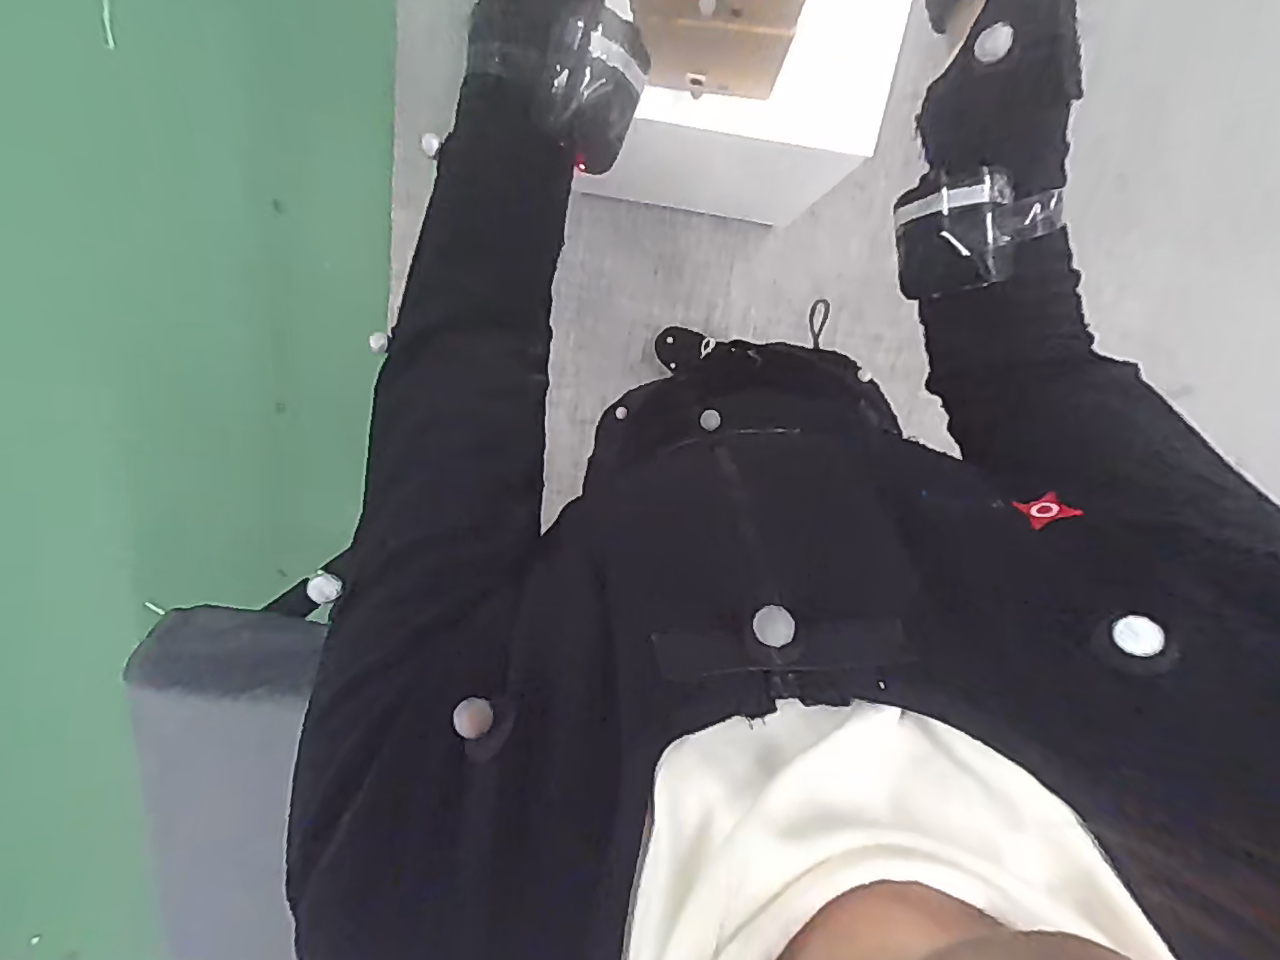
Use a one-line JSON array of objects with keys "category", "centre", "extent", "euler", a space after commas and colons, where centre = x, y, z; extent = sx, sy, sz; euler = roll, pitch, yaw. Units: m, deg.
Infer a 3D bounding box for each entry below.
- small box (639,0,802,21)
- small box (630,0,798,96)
[{"category": "small box", "centre": [0.072, -0.512, 0.423], "extent": [0.168, 0.176, 0.179], "euler": [5, 105, 3]}, {"category": "small box", "centre": [0.086, -0.552, 0.581], "extent": [0.168, 0.176, 0.179], "euler": [8, 108, 3]}]
